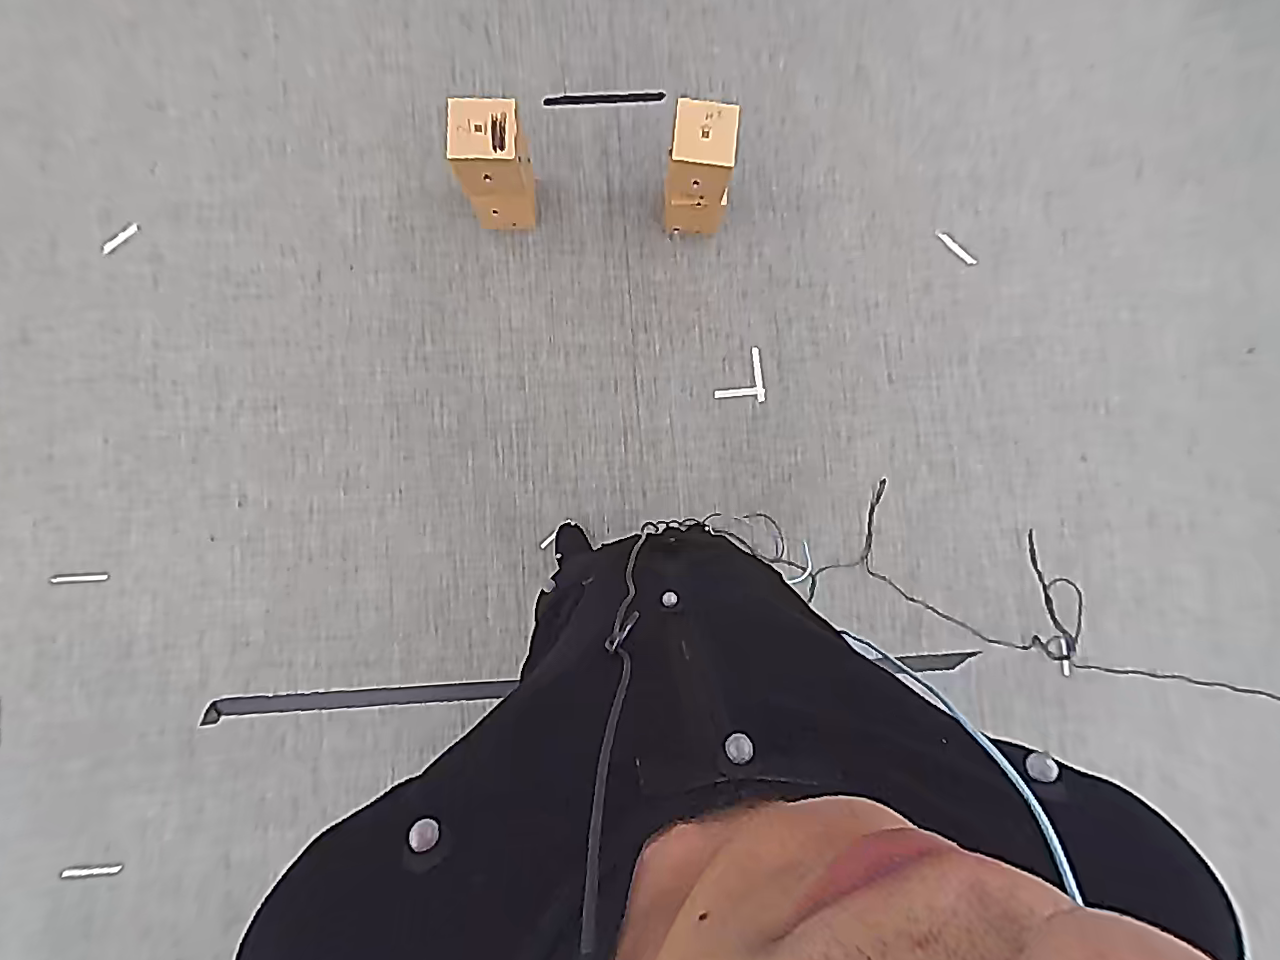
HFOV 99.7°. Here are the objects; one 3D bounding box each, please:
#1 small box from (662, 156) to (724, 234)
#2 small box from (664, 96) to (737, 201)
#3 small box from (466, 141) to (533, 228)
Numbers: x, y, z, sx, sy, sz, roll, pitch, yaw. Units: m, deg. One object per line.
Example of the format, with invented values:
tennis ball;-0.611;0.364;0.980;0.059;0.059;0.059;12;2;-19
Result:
small box;0.158;-0.873;1.644;0.168;0.176;0.179;0;85;-4
small box;0.160;-0.898;1.480;0.168;0.176;0.179;6;85;-3
small box;-0.416;-0.876;1.616;0.168;0.176;0.179;-2;85;-3
